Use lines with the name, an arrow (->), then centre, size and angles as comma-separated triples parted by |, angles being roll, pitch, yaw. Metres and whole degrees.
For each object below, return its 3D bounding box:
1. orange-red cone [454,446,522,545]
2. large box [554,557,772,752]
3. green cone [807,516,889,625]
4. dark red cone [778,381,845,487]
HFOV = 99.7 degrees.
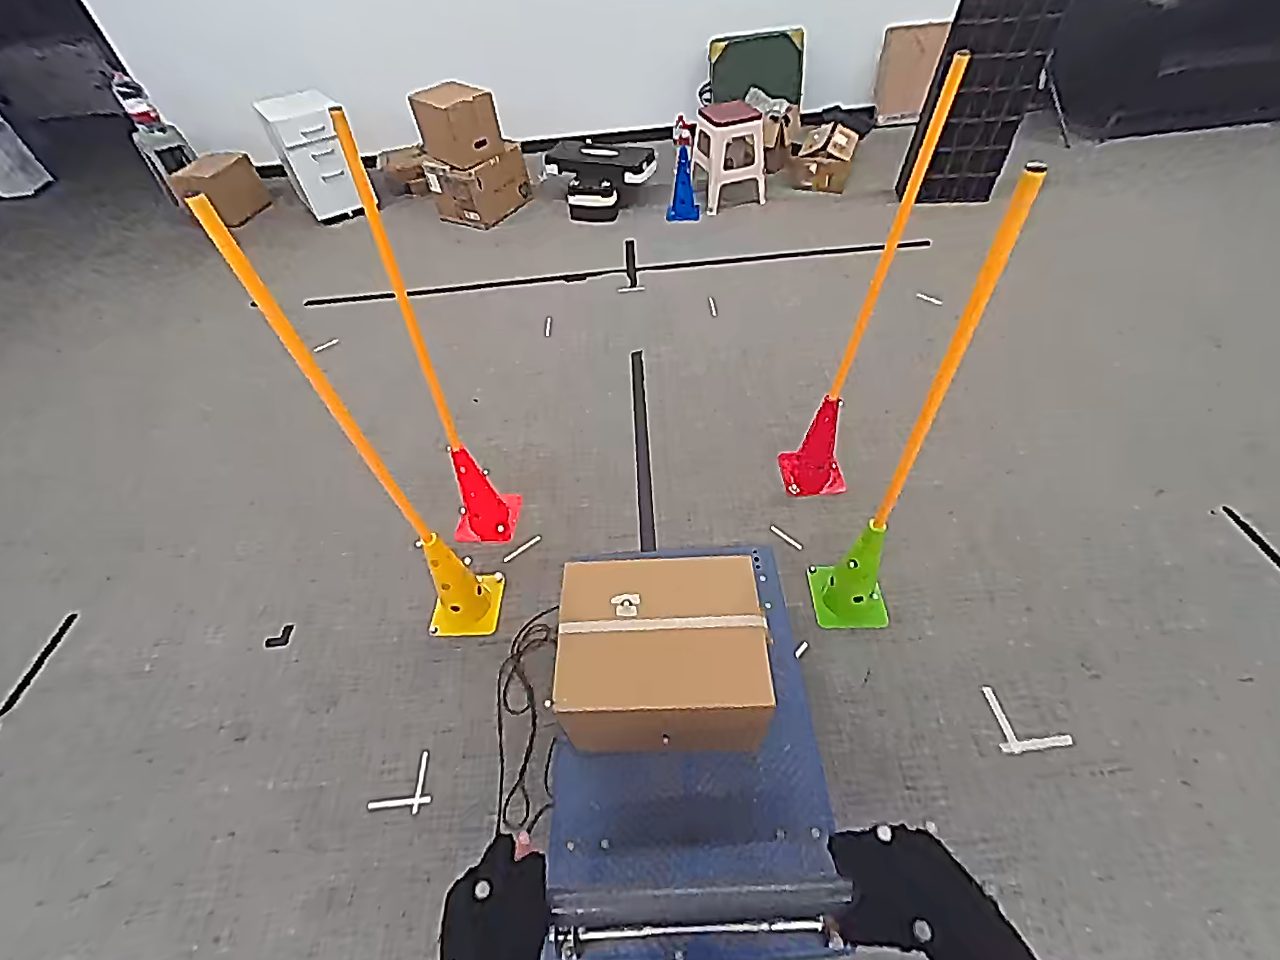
orange-red cone -> -0.530, 0.025, 1.745 | 0.198, 0.360, 0.199 | 1, 48, 5
large box -> 0.051, 0.390, 1.184 | 0.408, 0.320, 0.320 | -4, 50, 3
green cone -> 0.598, 0.223, 1.463 | 0.202, 0.368, 0.200 | -1, 49, 3
dark red cone -> 0.590, -0.157, 1.766 | 0.201, 0.394, 0.202 | -4, 50, 0
